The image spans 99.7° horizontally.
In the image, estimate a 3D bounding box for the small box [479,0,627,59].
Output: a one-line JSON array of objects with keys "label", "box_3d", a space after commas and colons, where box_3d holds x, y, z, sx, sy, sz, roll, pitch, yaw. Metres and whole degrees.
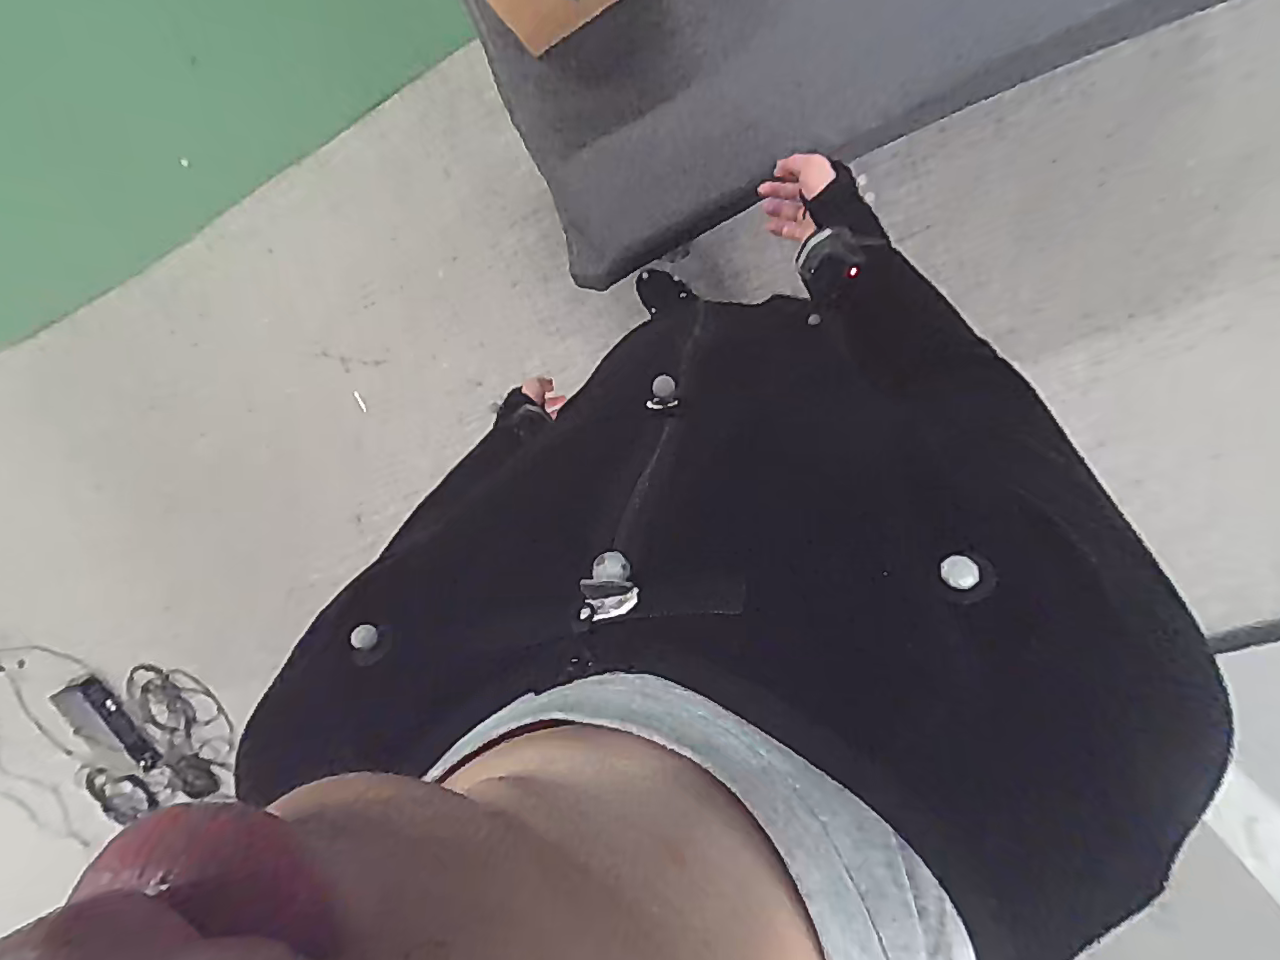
[{"label": "small box", "box_3d": [-0.097, -0.579, 0.540, 0.179, 0.176, 0.168, -23, 105, 17]}]
